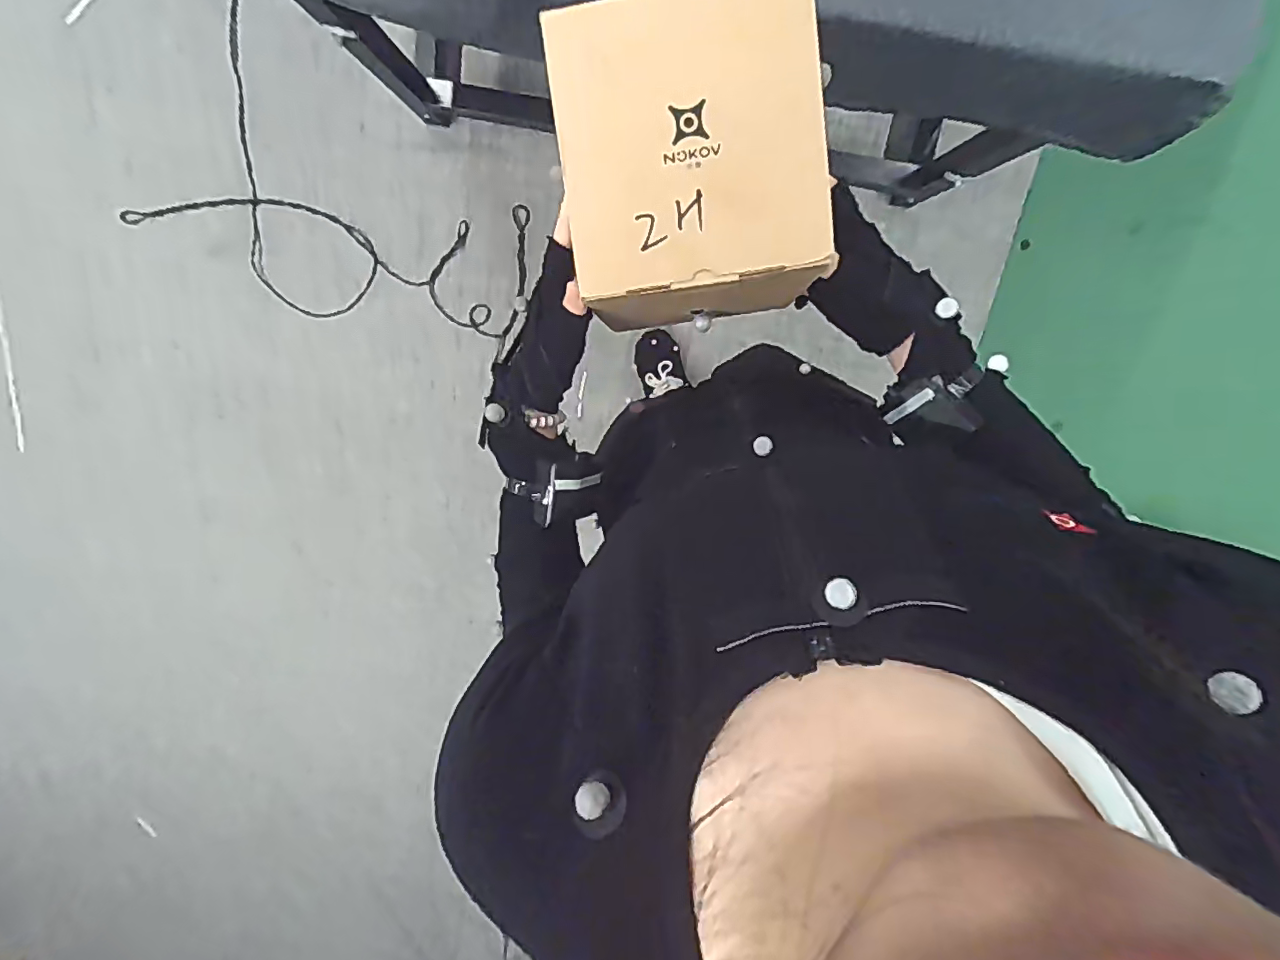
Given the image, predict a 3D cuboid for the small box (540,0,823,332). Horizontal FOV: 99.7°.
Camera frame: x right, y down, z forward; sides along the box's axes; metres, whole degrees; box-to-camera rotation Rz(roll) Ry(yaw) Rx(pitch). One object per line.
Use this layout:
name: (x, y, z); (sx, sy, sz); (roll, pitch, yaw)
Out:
small box: (0.033, -0.221, 0.416); (0.168, 0.176, 0.179); (-6, 98, 6)
